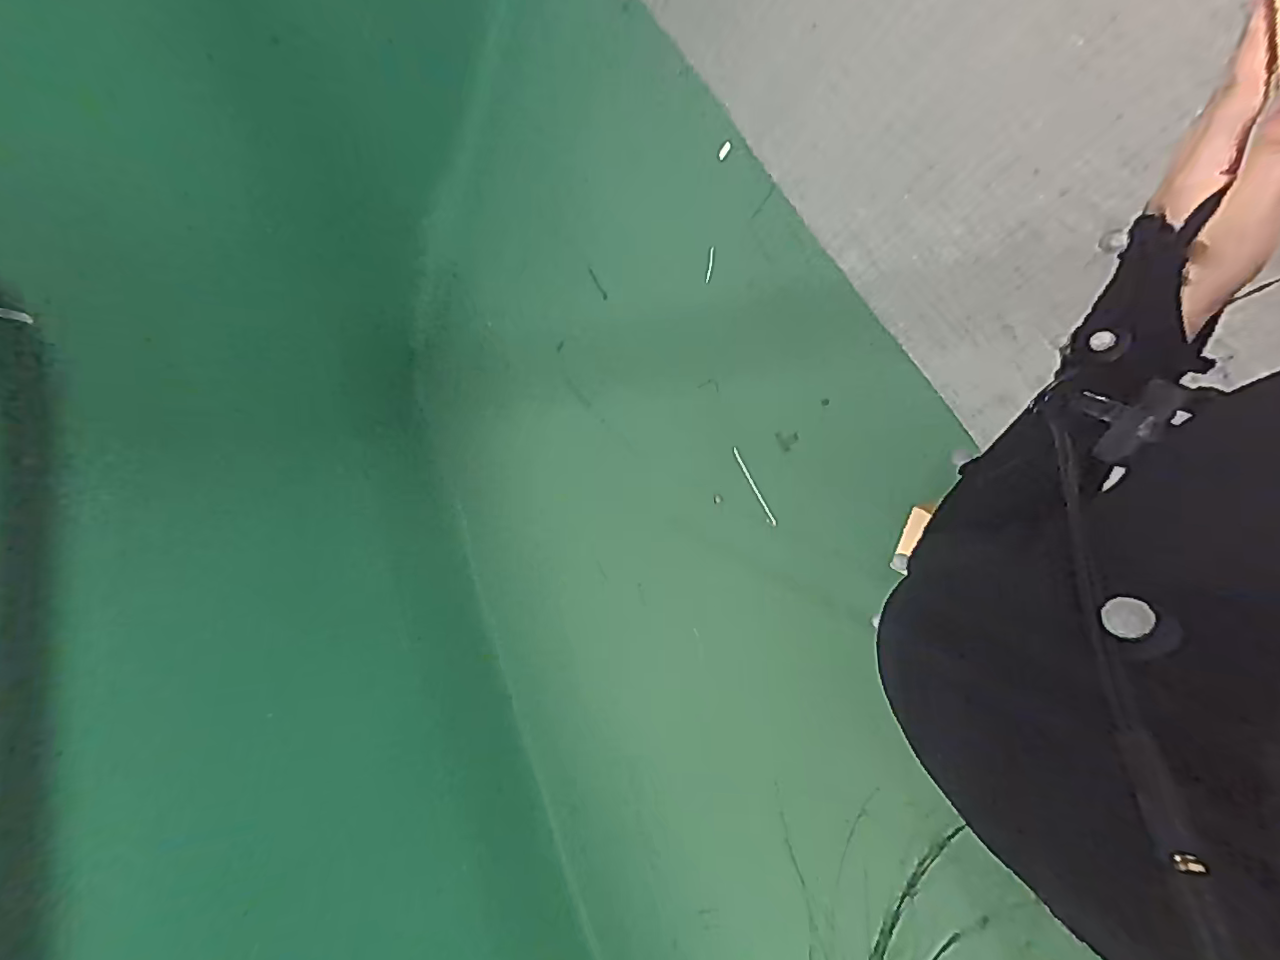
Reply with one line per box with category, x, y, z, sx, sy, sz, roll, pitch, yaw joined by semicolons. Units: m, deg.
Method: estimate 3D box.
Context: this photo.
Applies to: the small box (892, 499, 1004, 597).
small box;0.774;0.163;1.356;0.168;0.176;0.179;32;117;43
